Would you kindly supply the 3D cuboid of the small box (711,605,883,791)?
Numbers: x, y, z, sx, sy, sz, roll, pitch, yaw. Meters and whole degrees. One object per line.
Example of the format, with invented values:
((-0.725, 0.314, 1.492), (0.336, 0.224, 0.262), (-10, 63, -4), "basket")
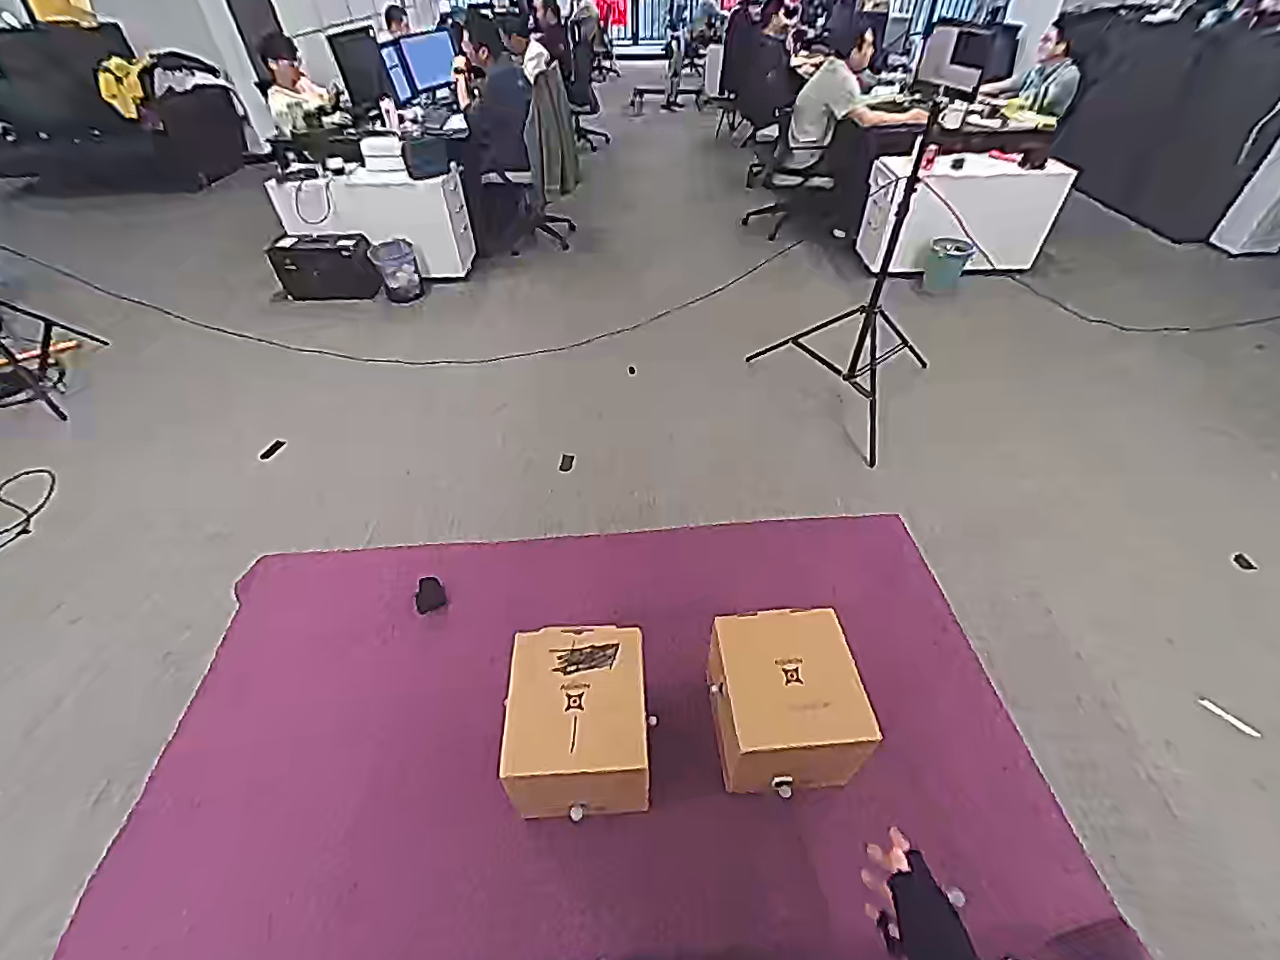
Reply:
((0.193, 0.293, 0.728), (0.168, 0.176, 0.179), (-5, 45, -2), "small box")

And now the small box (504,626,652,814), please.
((-0.072, 0.314, 0.709), (0.168, 0.176, 0.179), (-3, 45, -1), "small box")
